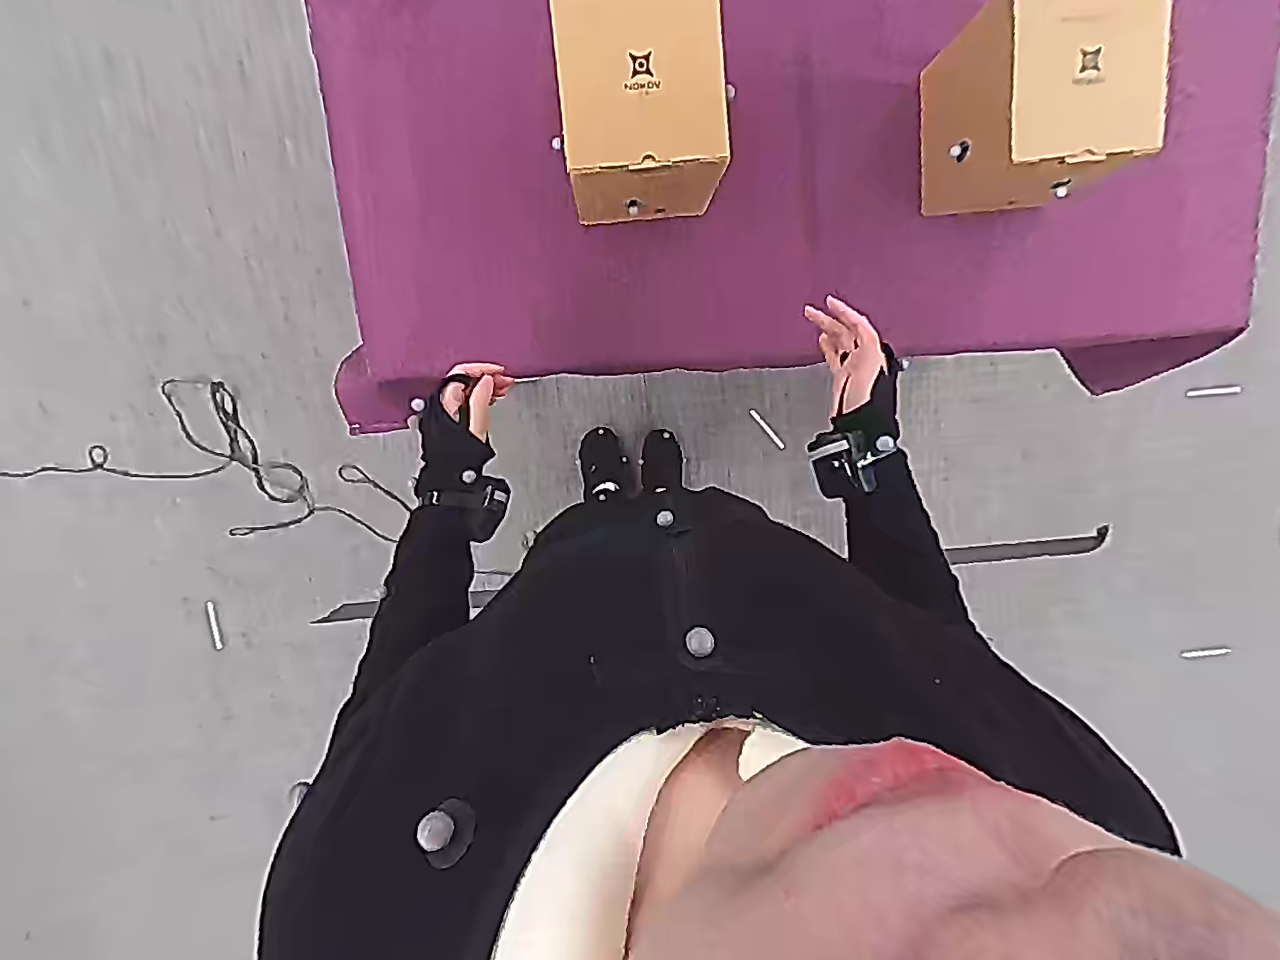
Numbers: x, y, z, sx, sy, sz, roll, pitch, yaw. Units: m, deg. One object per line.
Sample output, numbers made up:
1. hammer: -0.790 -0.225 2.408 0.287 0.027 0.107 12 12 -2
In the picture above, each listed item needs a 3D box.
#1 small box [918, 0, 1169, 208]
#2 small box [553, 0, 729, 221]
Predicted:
1. small box: 0.445 -0.430 0.626 0.168 0.176 0.179 -5 99 -2
2. small box: -0.003 -0.414 0.608 0.168 0.176 0.179 -6 100 -2
